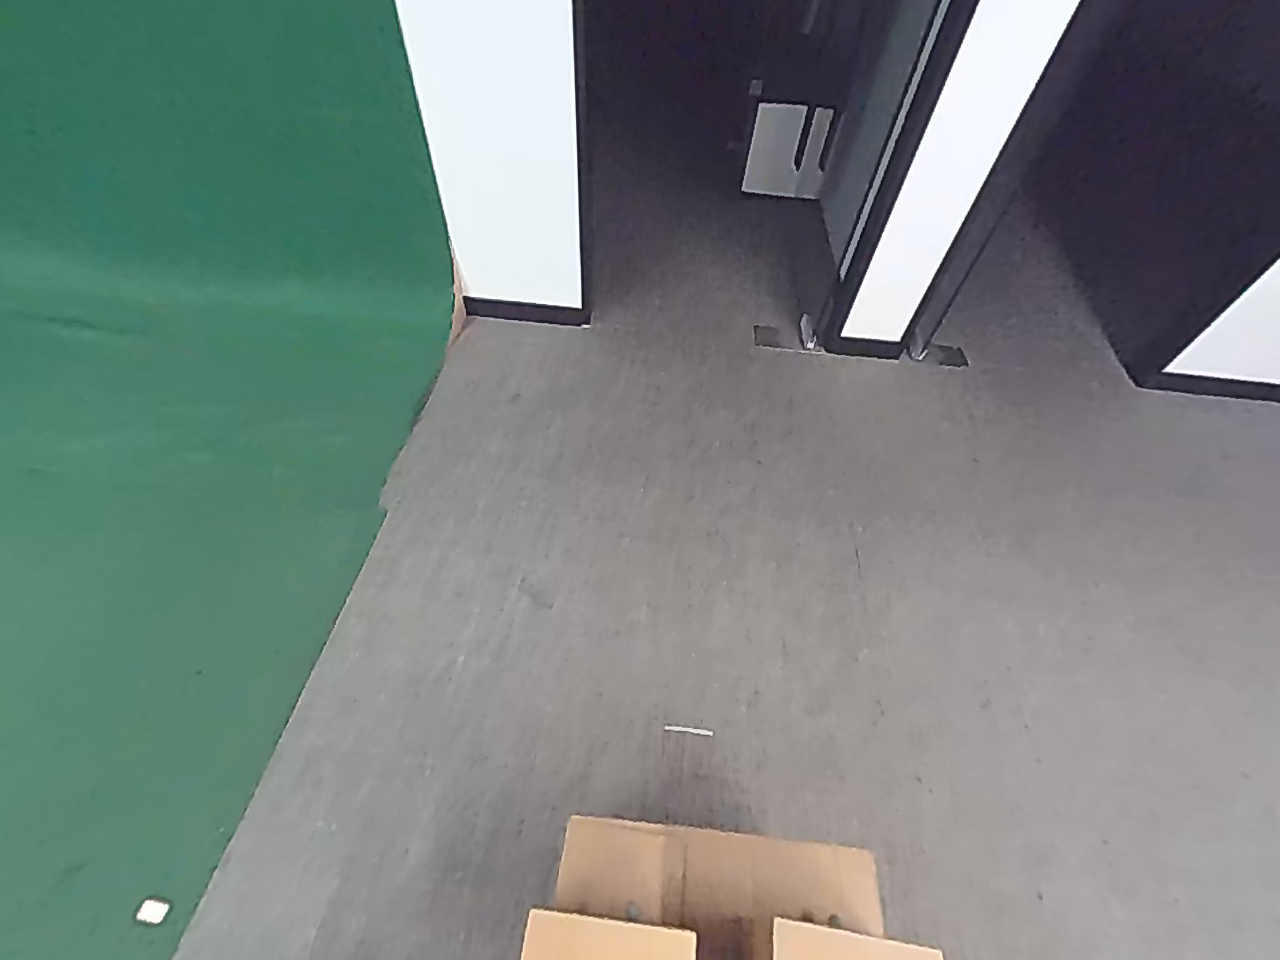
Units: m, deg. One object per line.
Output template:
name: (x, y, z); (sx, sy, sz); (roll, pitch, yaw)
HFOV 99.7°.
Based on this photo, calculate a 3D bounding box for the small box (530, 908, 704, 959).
small box: (-0.035, 0.541, 0.531); (0.168, 0.176, 0.179); (7, 53, 0)

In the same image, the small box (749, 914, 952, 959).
small box: (0.201, 0.555, 0.533); (0.168, 0.176, 0.179); (9, 50, 4)
